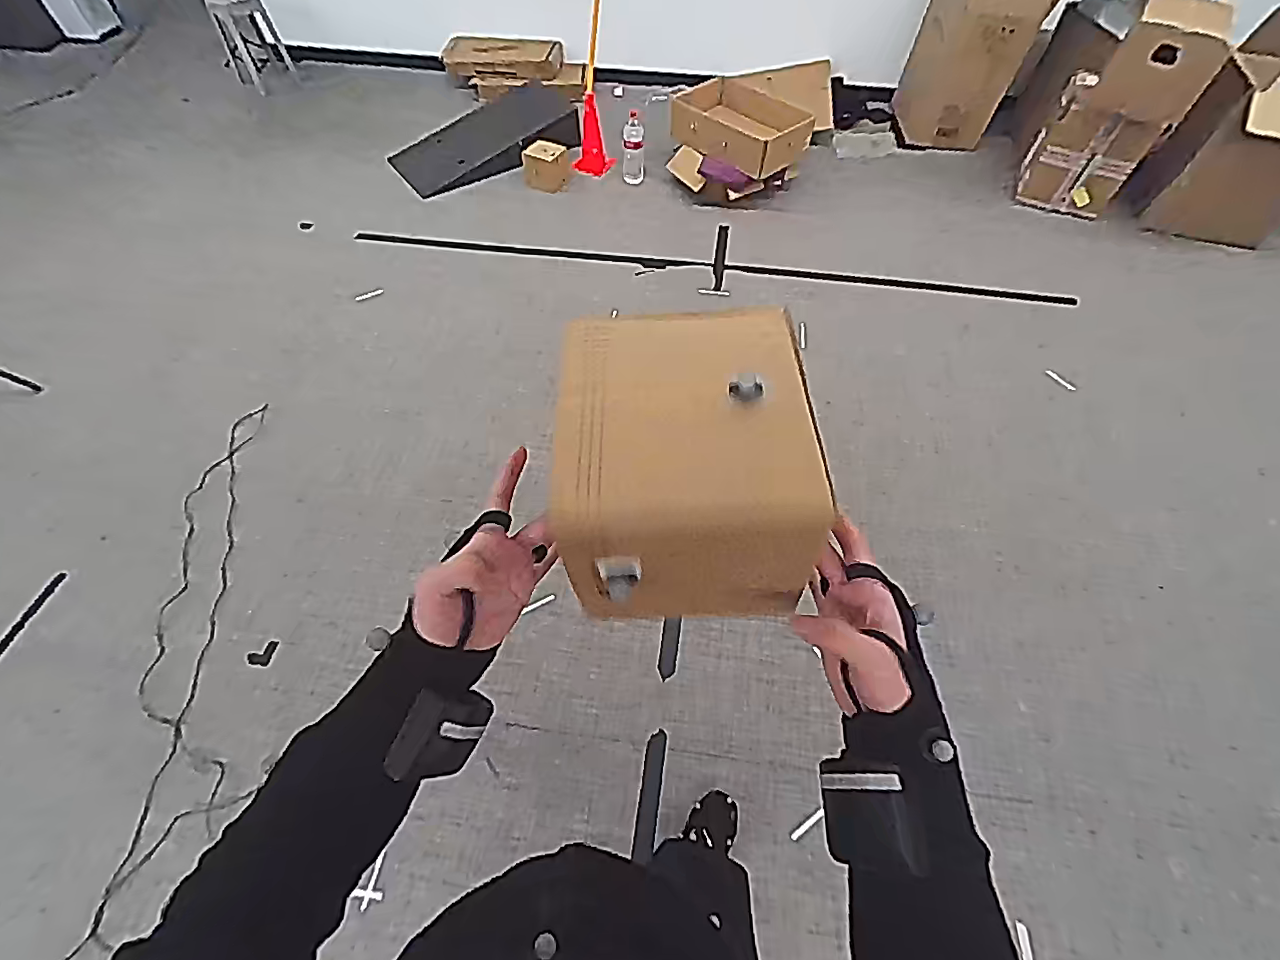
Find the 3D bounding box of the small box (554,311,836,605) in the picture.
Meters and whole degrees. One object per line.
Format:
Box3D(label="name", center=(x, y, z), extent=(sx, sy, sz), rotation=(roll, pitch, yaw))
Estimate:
Box3D(label="small box", center=(0.033, -0.004, 0.416), extent=(0.176, 0.168, 0.179), rotation=(-3, 71, 5))
